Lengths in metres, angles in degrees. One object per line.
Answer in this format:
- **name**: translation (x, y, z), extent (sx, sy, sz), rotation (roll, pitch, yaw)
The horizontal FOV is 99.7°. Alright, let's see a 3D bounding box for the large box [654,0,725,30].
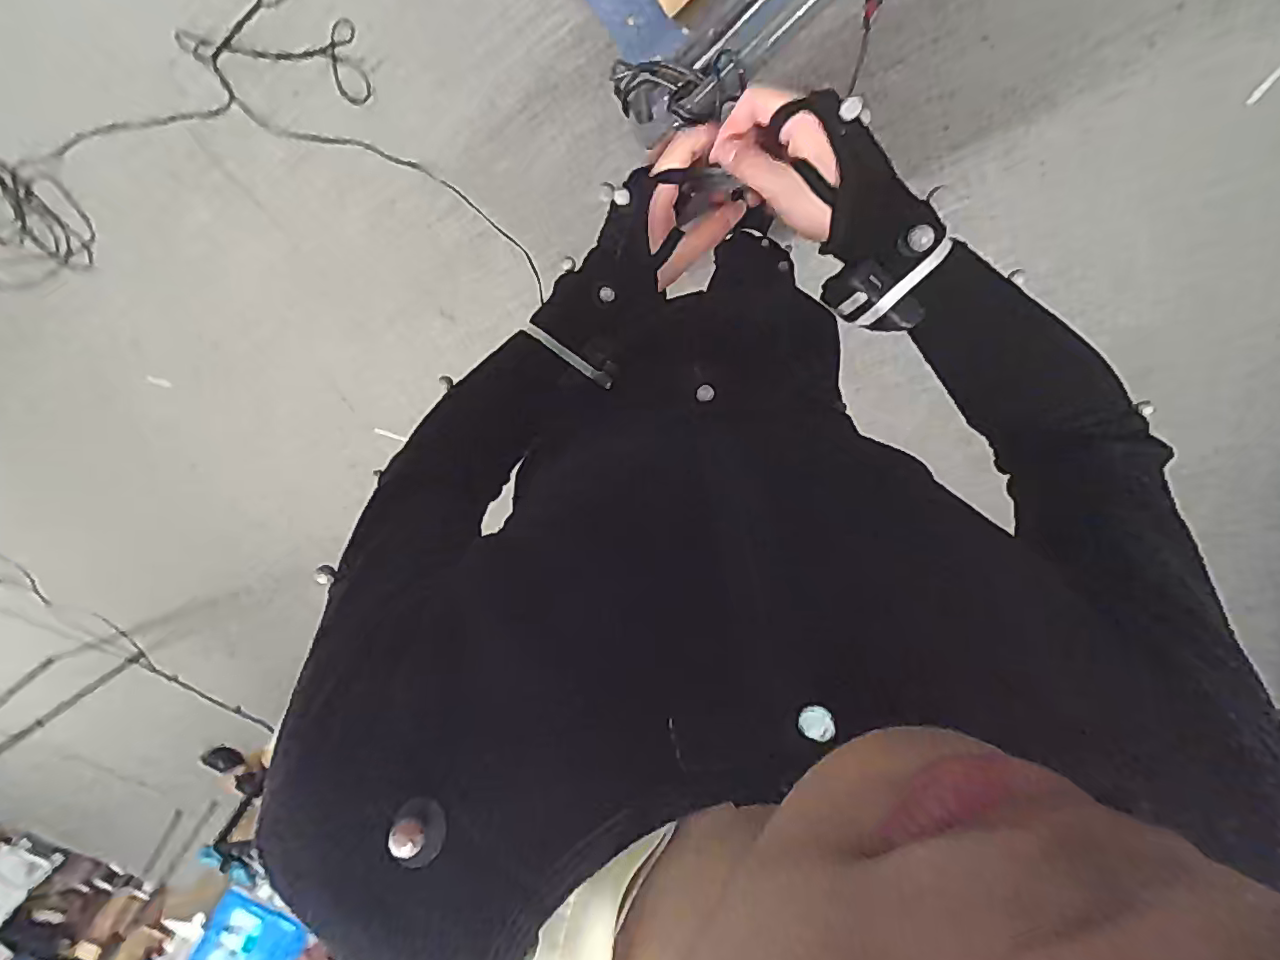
- **large box**: translation (0.066, -0.967, 0.773), extent (0.320, 0.320, 0.408), rotation (-29, 116, 28)
